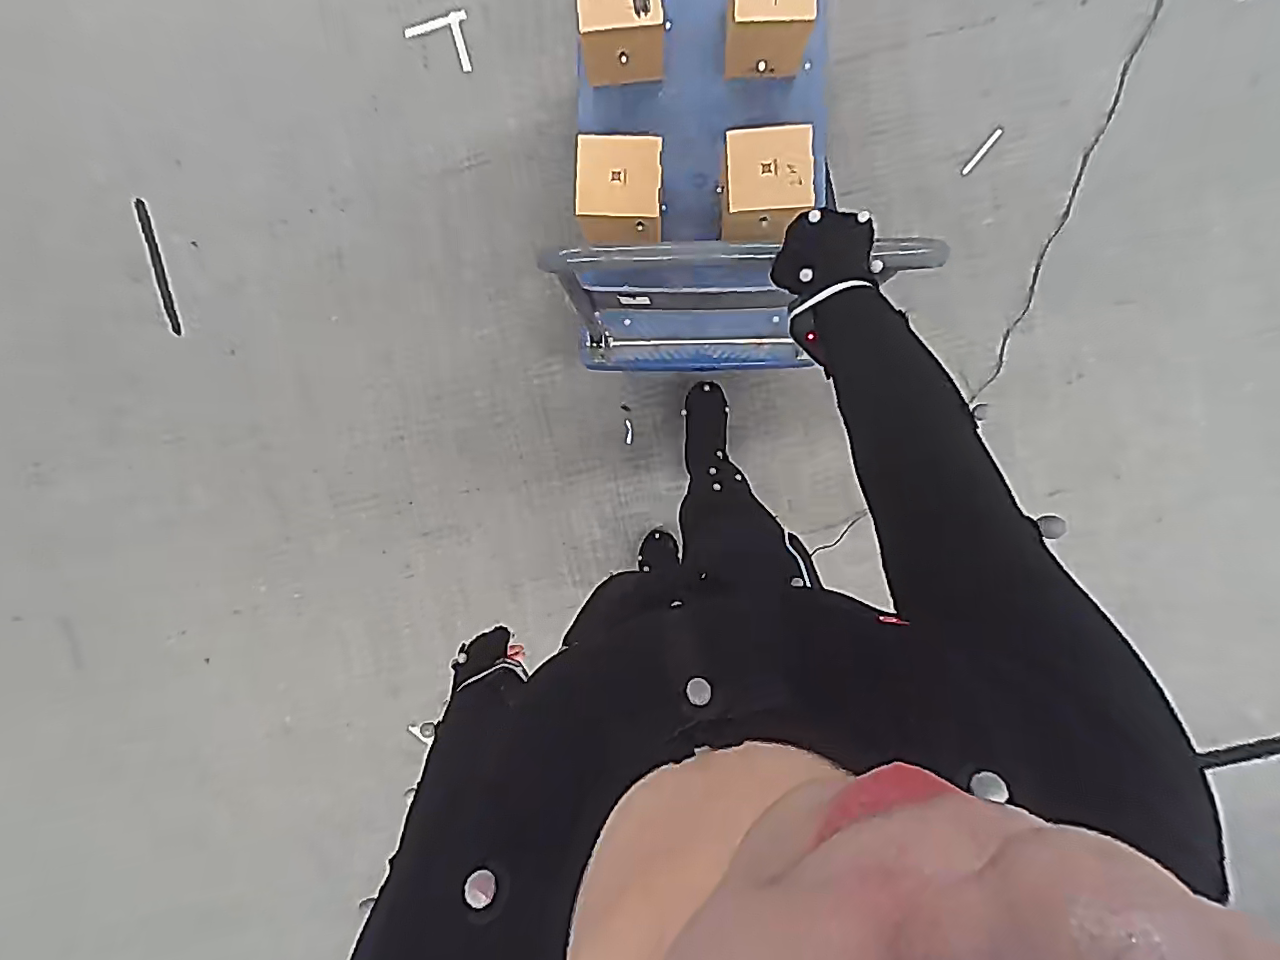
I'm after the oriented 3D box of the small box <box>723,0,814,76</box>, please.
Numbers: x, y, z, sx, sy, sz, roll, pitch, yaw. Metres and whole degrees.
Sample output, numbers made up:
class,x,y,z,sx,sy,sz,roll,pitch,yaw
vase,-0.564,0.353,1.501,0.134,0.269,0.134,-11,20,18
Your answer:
class,x,y,z,sx,sy,sz,roll,pitch,yaw
small box,0.271,-1.014,1.161,0.168,0.176,0.179,0,94,2

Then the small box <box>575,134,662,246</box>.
class,x,y,z,sx,sy,sz,roll,pitch,yaw
small box,-0.043,-0.631,1.193,0.179,0.176,0.168,2,93,1

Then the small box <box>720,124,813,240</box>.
class,x,y,z,sx,sy,sz,roll,pitch,yaw
small box,0.266,-0.638,1.178,0.179,0.176,0.168,-3,93,3
